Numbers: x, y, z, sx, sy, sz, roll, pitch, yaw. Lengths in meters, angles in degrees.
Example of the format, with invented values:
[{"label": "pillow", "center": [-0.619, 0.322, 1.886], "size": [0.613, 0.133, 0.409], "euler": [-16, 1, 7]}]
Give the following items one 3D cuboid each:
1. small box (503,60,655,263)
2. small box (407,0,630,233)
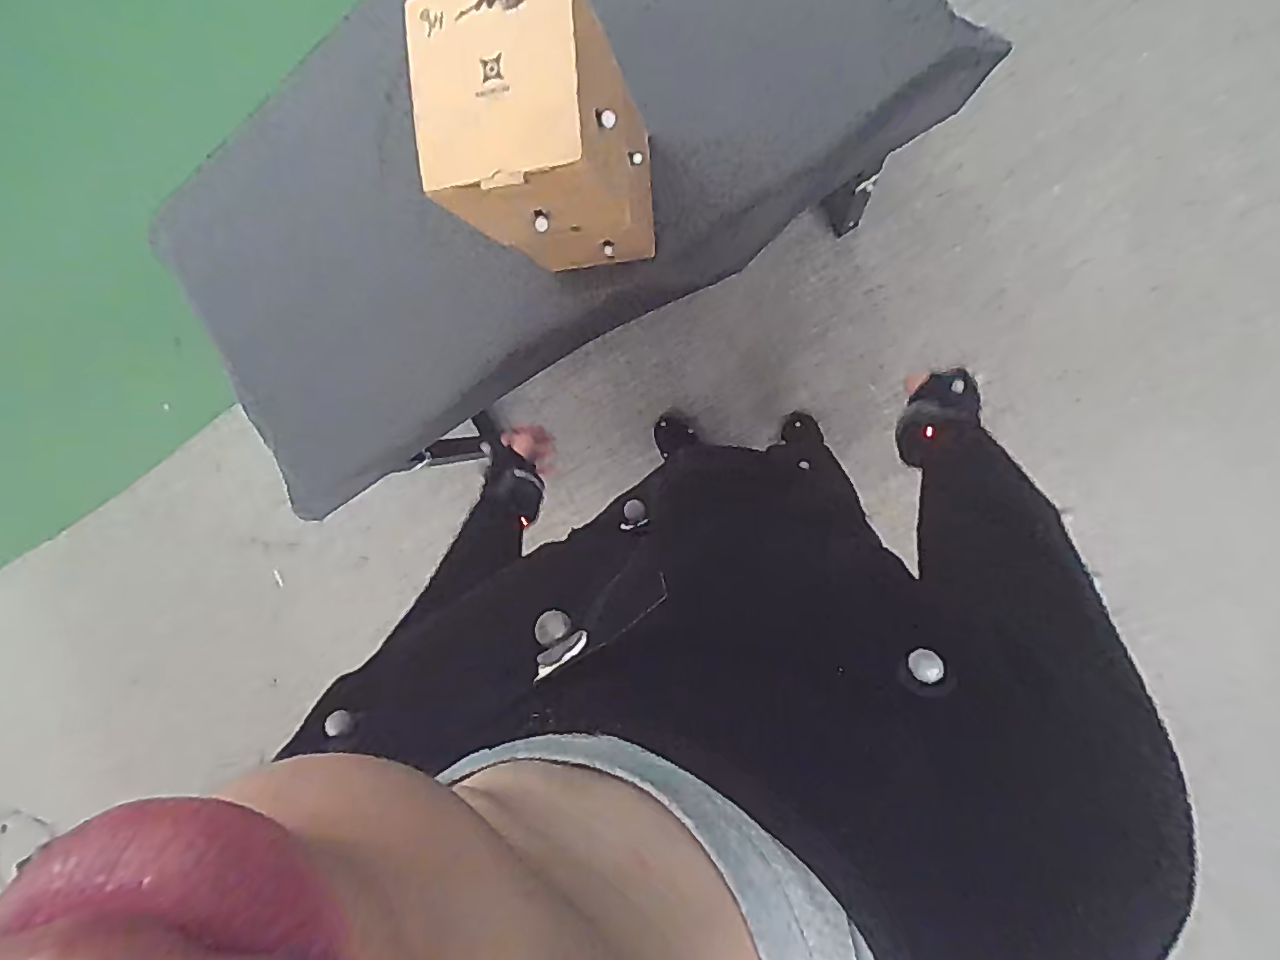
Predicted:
[{"label": "small box", "center": [-0.079, -0.403, 0.723], "size": [0.168, 0.176, 0.179], "euler": [-3, 95, 13]}, {"label": "small box", "center": [-0.111, -0.373, 0.565], "size": [0.168, 0.176, 0.179], "euler": [-2, 97, 13]}]
